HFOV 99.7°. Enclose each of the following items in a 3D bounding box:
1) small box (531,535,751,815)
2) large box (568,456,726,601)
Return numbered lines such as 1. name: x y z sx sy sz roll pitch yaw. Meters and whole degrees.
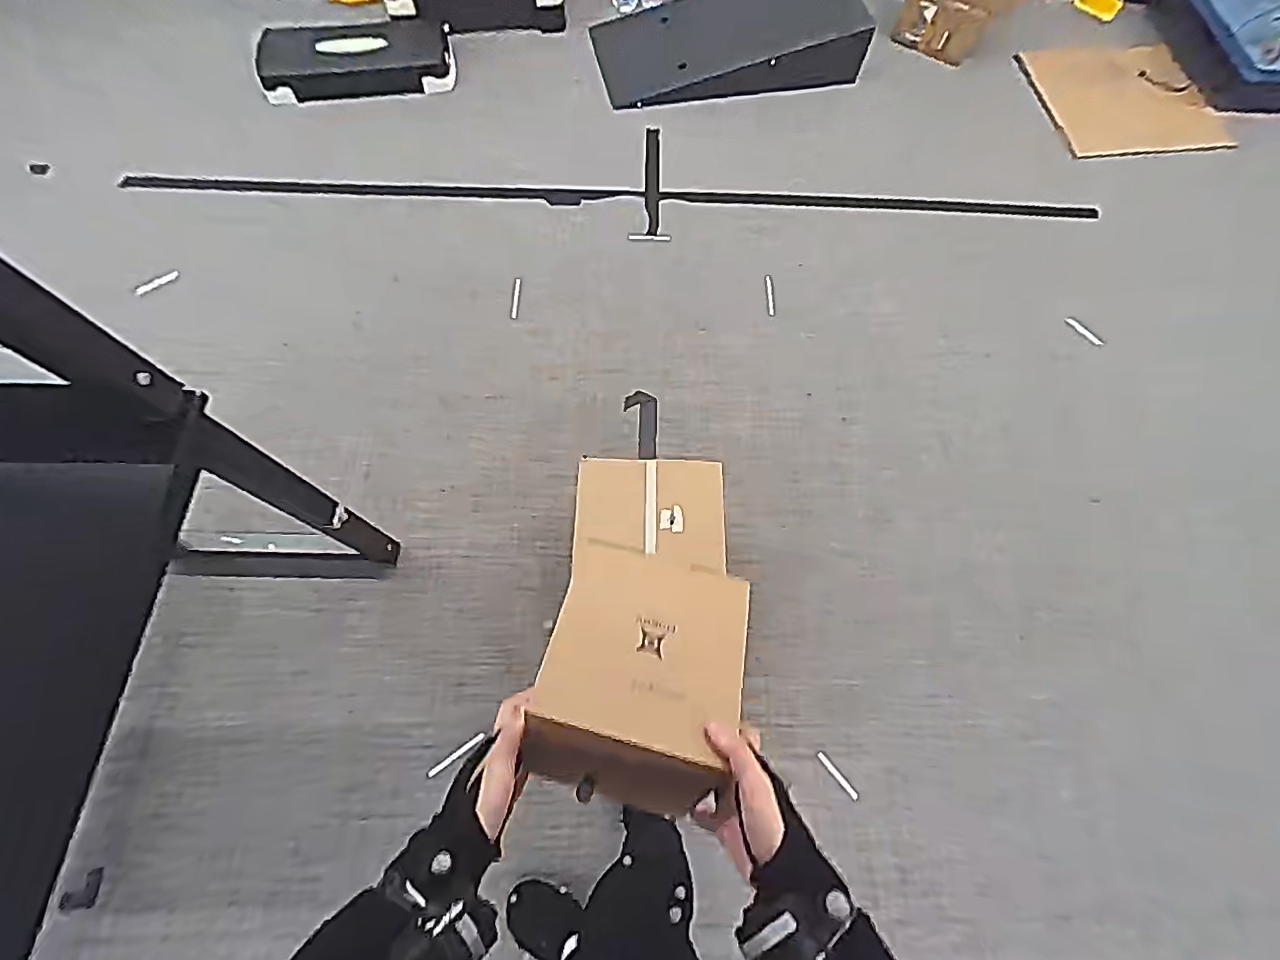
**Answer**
1. small box: -0.002 0.189 0.525 0.168 0.176 0.179 16 45 2
2. large box: 0.012 0.194 1.230 0.320 0.320 0.408 3 67 -2
